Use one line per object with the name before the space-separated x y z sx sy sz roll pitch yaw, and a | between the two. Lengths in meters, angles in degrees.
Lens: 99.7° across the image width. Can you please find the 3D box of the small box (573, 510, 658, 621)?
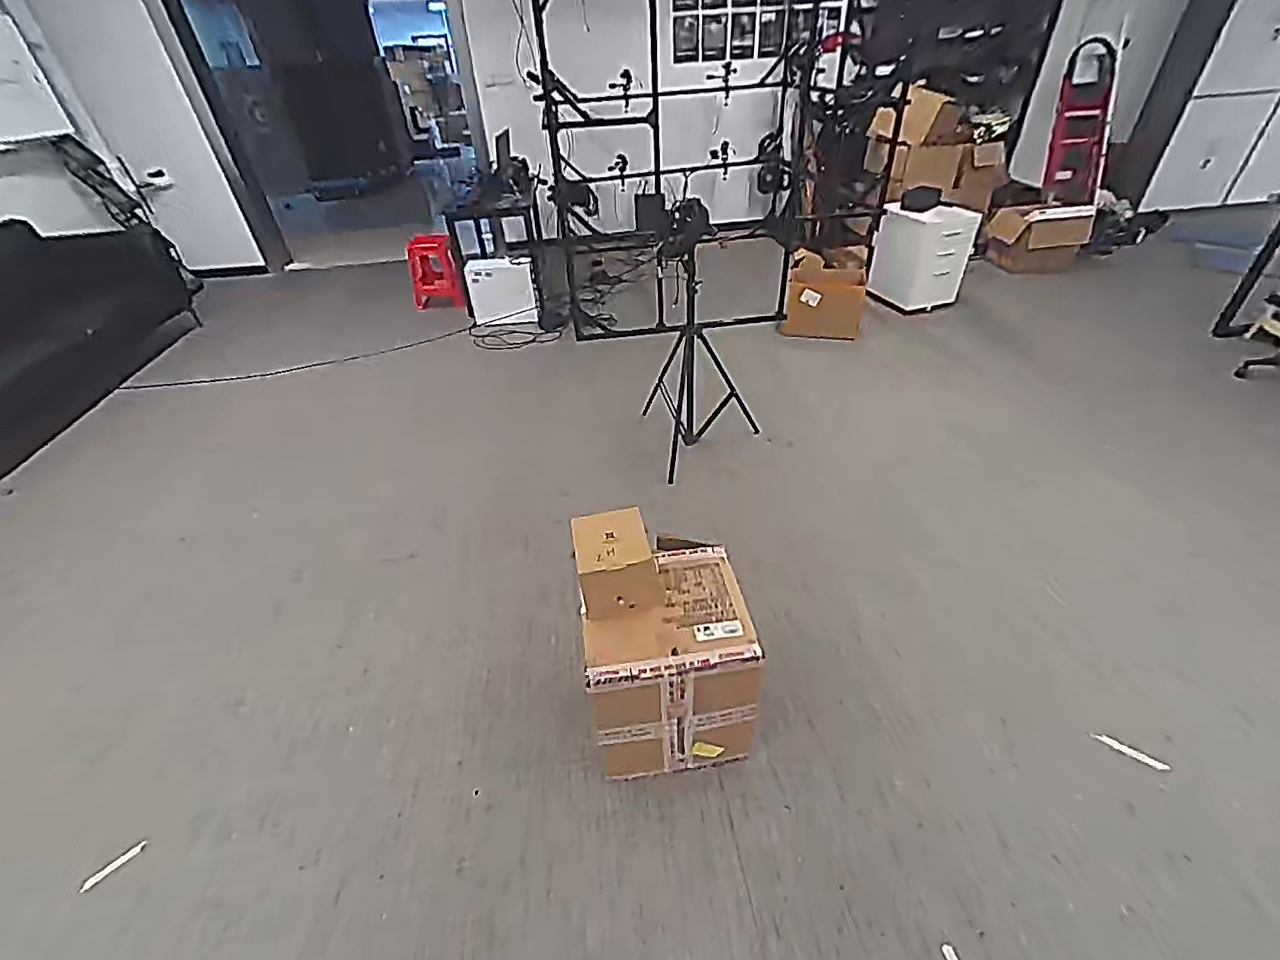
small box | -0.058 0.200 1.269 0.168 0.176 0.179 -11 41 -5
